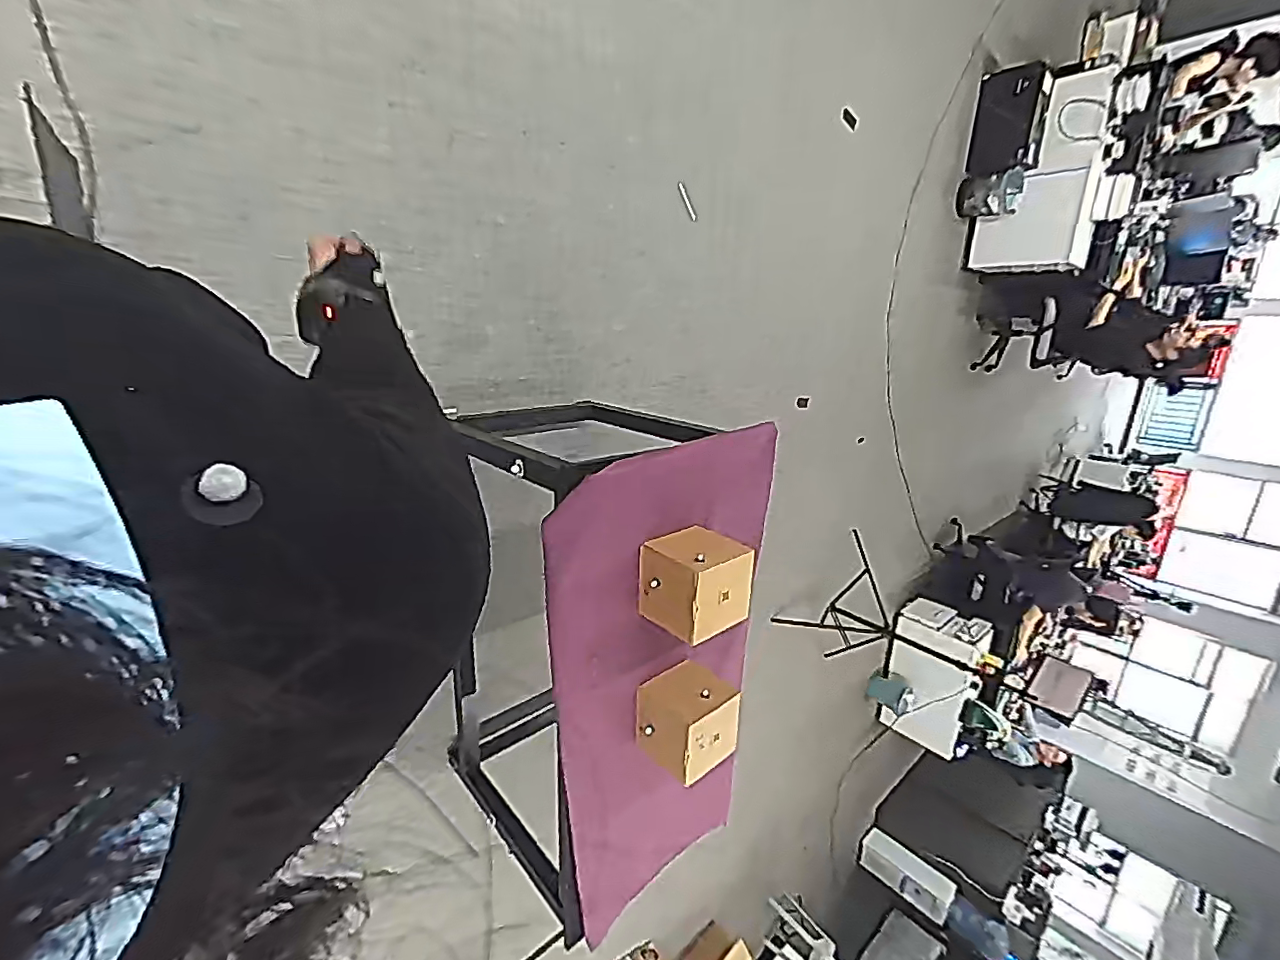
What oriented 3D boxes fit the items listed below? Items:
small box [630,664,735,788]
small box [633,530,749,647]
[{"bbox_3d":[0.097,0.560,1.261,0.179,0.176,0.168,-12,111,-40],"label":"small box"},{"bbox_3d":[0.107,0.221,1.160,0.179,0.176,0.168,-13,113,-39],"label":"small box"}]
